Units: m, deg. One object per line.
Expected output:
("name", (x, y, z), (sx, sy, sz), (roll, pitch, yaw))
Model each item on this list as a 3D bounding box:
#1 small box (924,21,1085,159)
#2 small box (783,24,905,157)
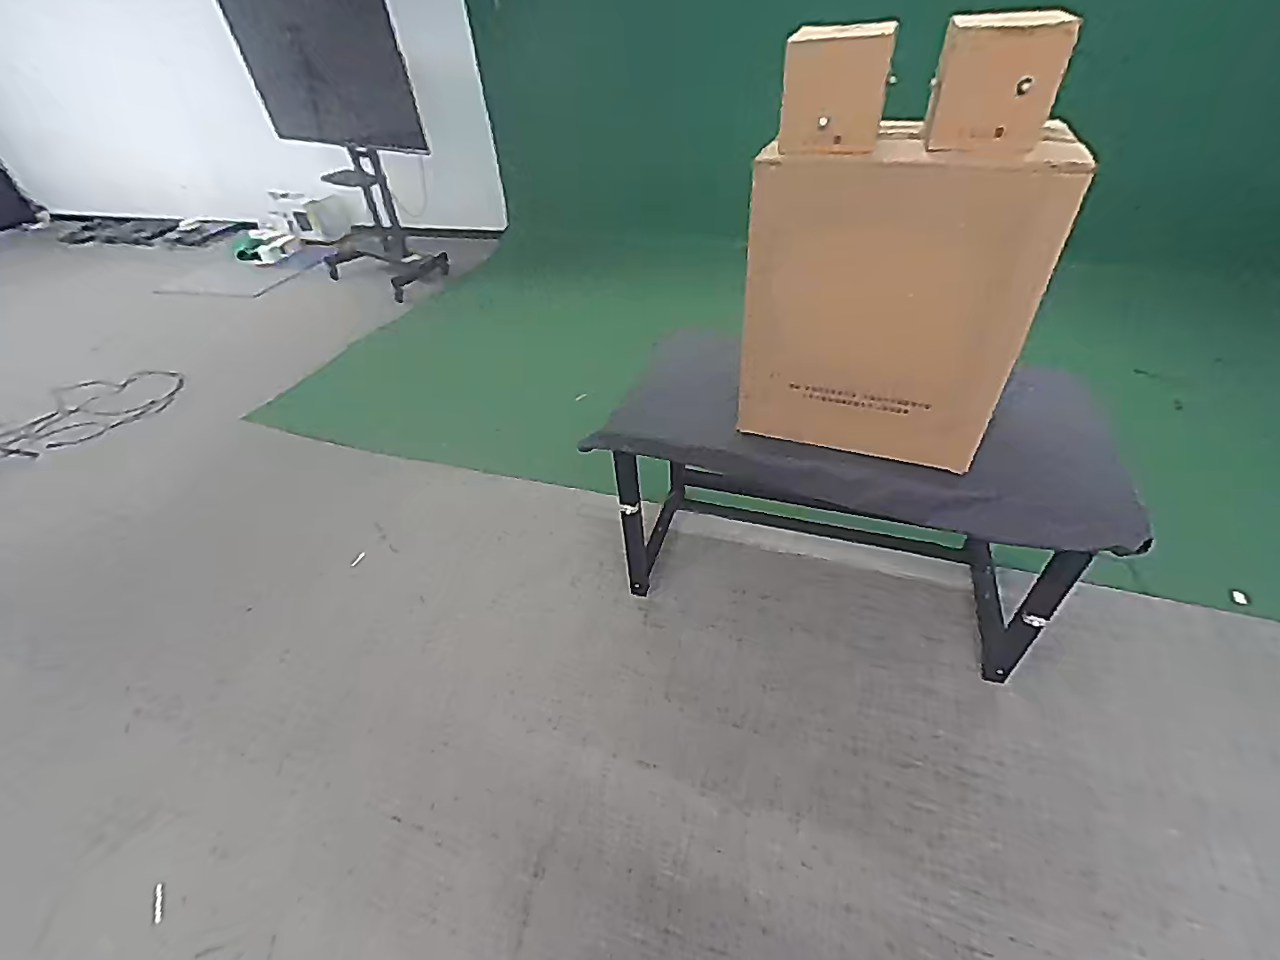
("small box", (0.597, -0.657, 0.913), (0.168, 0.176, 0.179), (12, 45, 13))
("small box", (0.362, -0.701, 0.973), (0.168, 0.176, 0.179), (13, 46, 21))
